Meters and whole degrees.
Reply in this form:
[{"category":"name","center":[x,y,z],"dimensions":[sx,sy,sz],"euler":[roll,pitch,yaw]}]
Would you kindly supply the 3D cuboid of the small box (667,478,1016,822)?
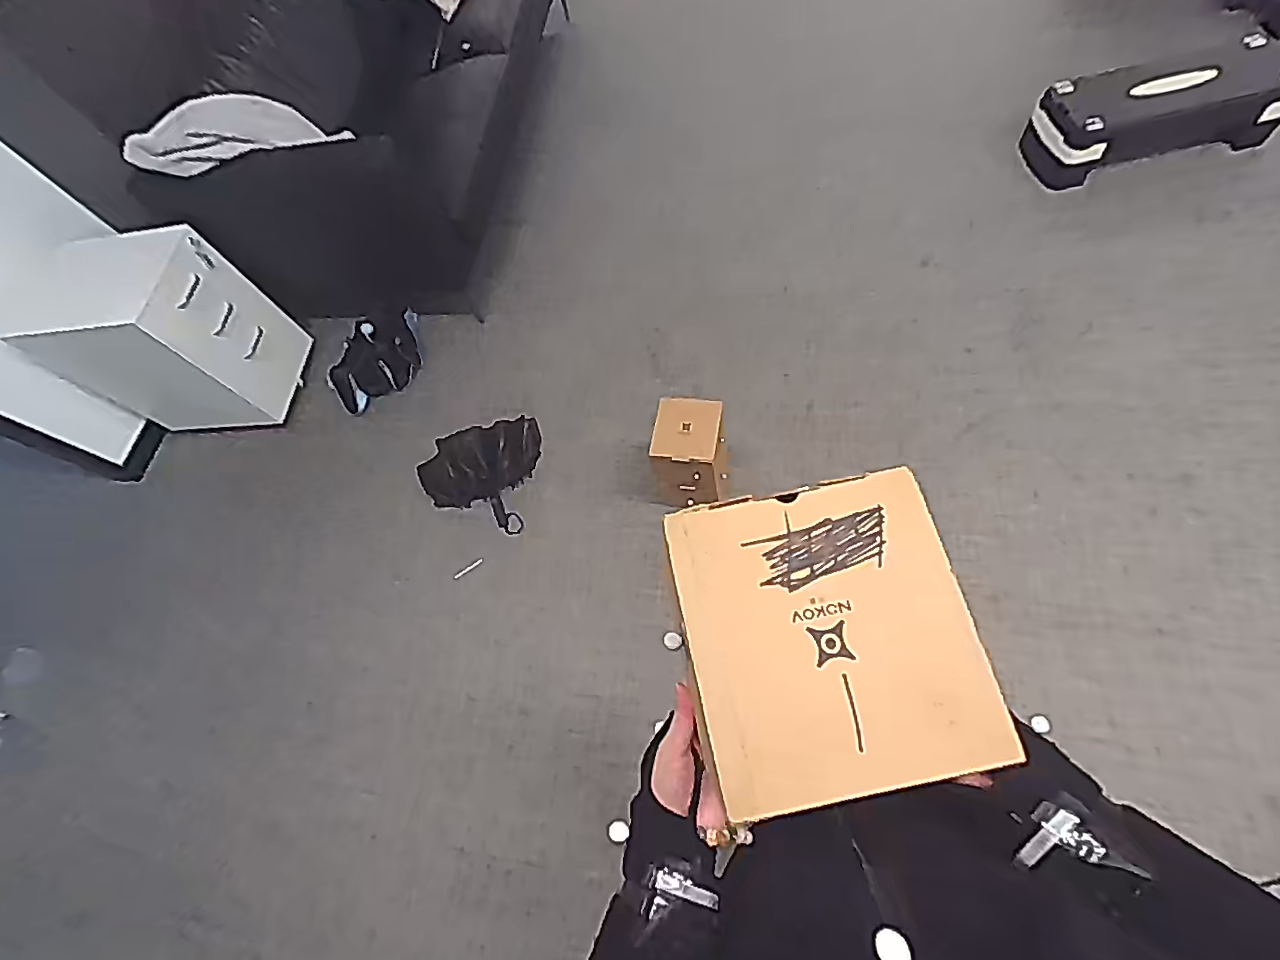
[{"category":"small box","center":[0.114,0.118,0.396],"dimensions":[0.168,0.176,0.179],"euler":[-11,71,-1]}]
